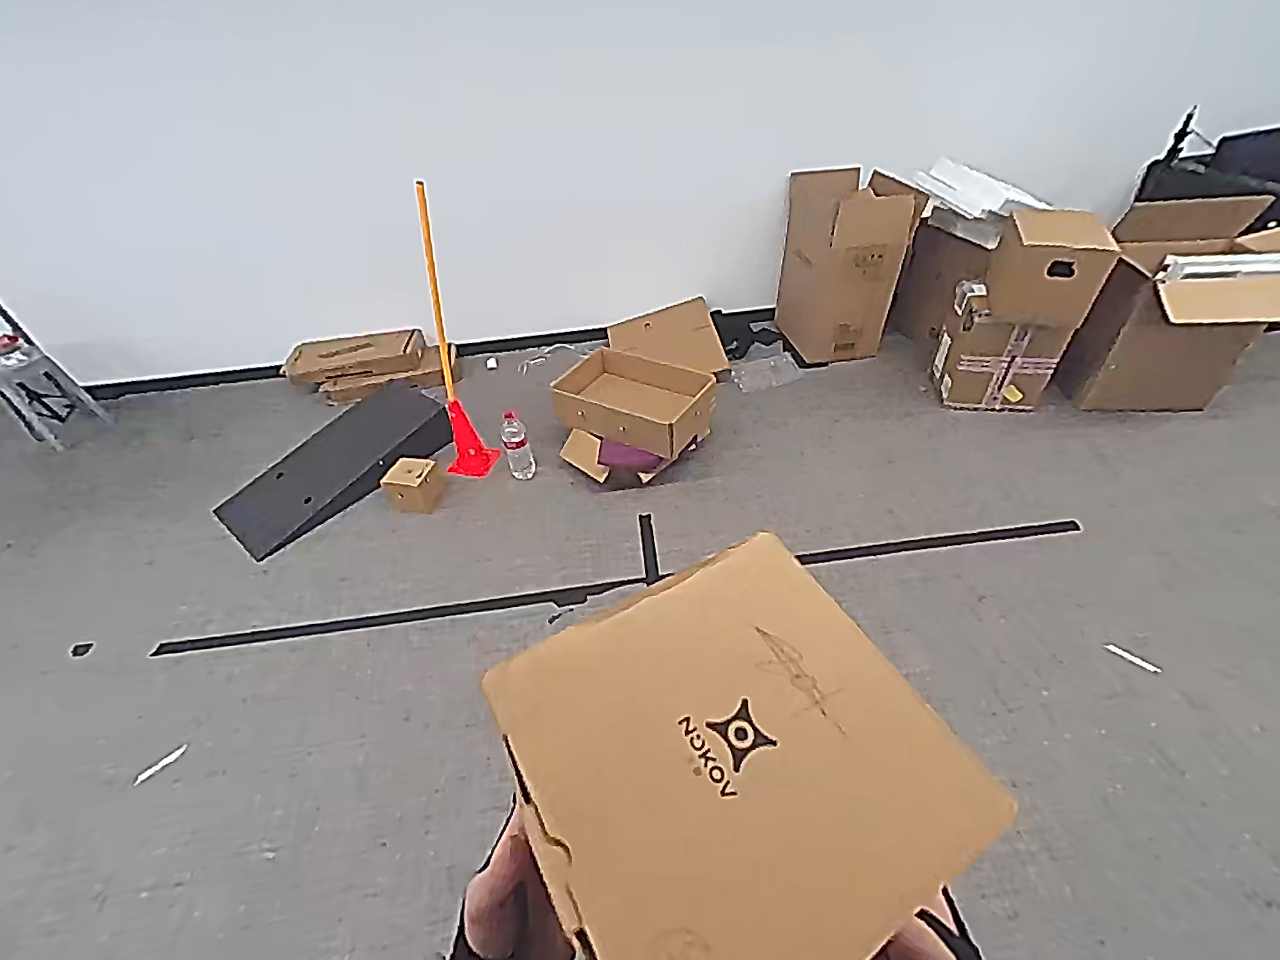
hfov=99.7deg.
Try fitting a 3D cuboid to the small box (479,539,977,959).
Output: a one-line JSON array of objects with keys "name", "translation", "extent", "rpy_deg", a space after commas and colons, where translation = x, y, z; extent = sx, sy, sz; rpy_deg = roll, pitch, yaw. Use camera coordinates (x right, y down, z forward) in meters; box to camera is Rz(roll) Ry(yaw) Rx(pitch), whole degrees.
[{"name": "small box", "translation": [0.033, 0.172, 0.309], "extent": [0.179, 0.176, 0.168], "rpy_deg": [-24, 54, -23]}]
